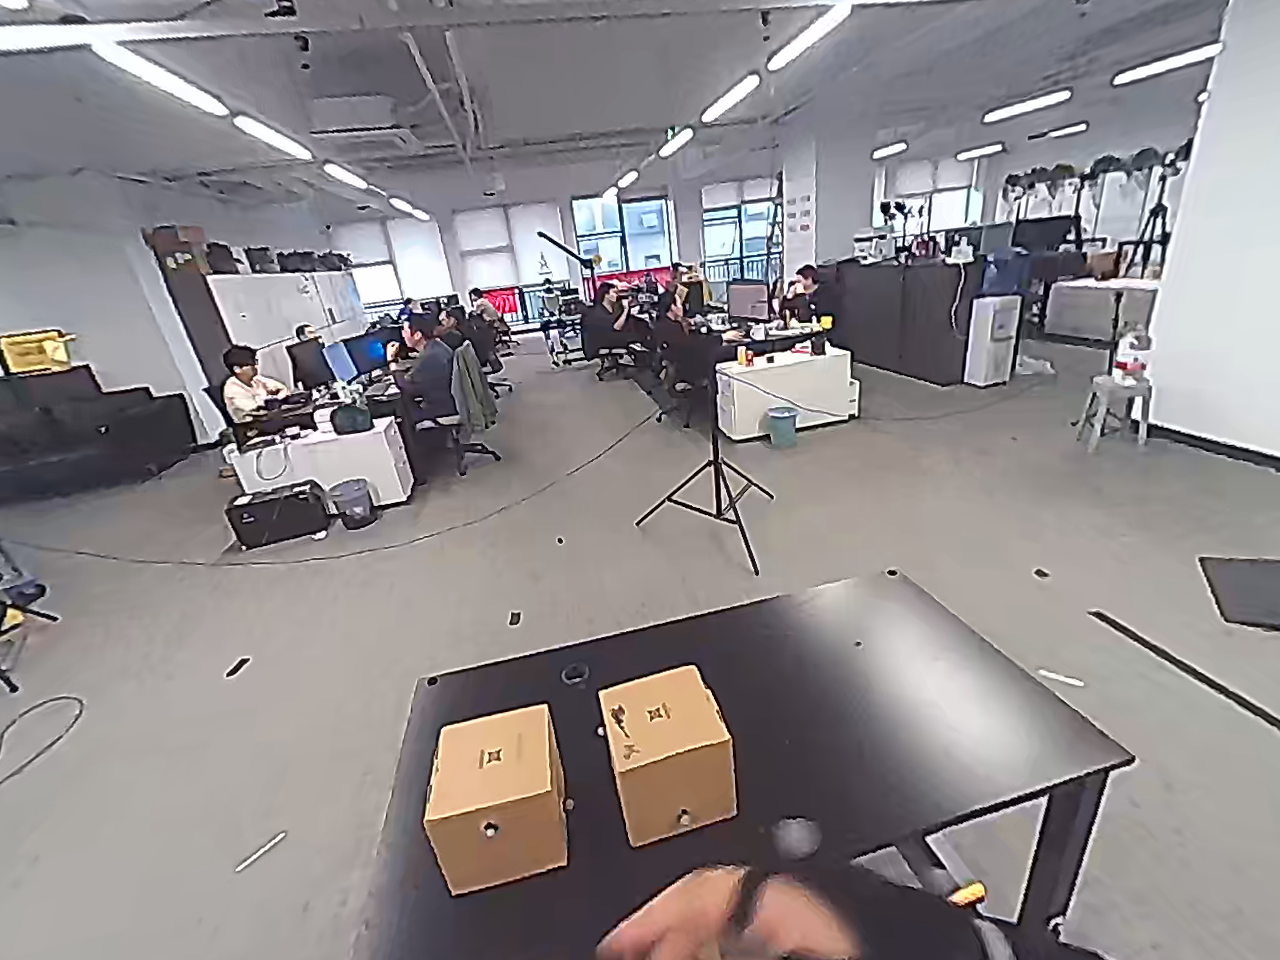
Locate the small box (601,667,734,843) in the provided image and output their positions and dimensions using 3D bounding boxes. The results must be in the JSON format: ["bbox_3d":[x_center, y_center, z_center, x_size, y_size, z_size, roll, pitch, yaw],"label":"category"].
[{"bbox_3d":[0.043,0.441,0.878,0.179,0.176,0.168,-11,23,-10],"label":"small box"}]

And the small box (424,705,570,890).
[{"bbox_3d":[-0.214,0.490,0.841,0.179,0.176,0.168,-10,24,-9],"label":"small box"}]
